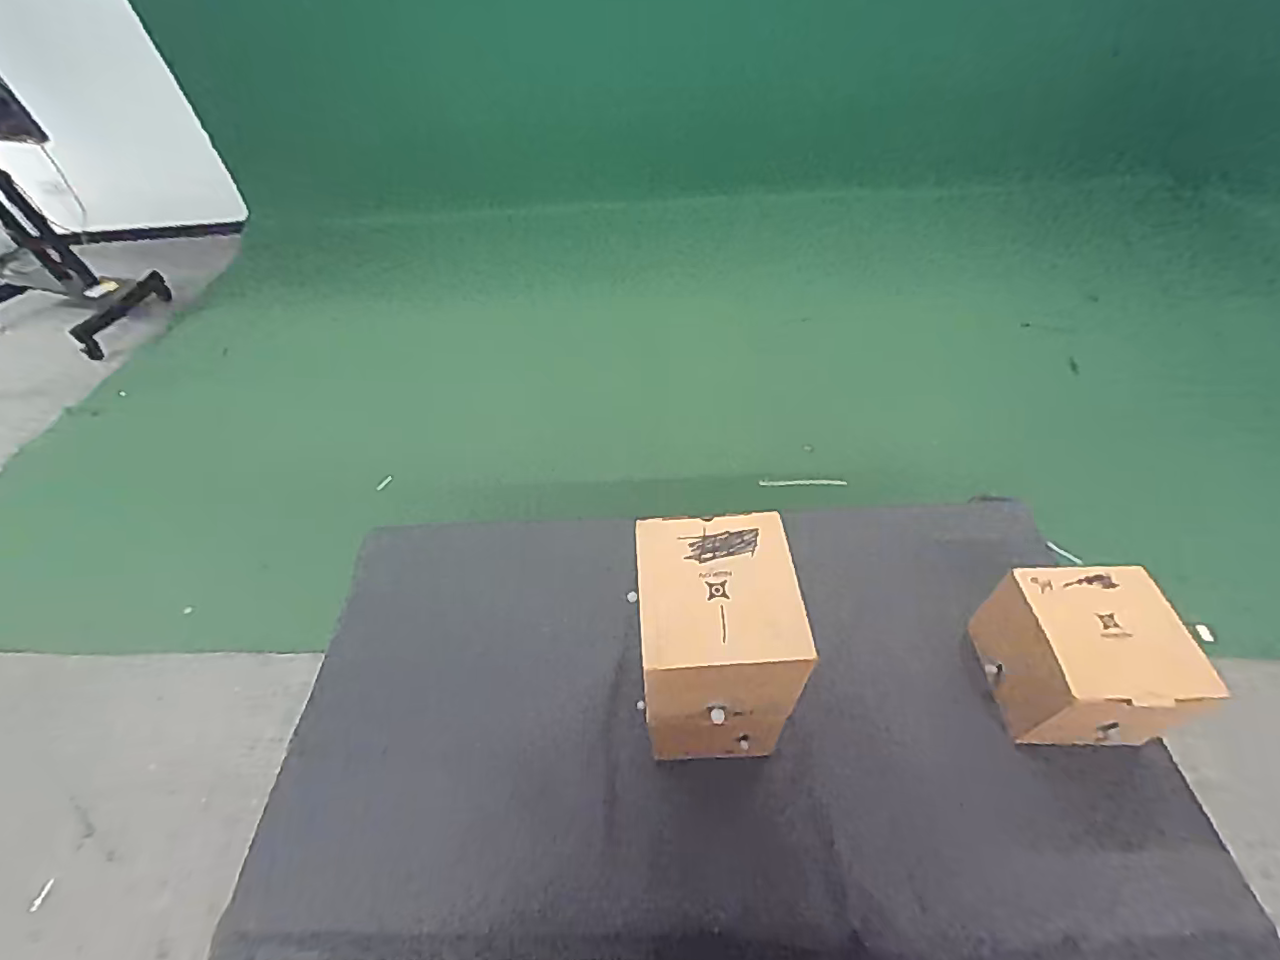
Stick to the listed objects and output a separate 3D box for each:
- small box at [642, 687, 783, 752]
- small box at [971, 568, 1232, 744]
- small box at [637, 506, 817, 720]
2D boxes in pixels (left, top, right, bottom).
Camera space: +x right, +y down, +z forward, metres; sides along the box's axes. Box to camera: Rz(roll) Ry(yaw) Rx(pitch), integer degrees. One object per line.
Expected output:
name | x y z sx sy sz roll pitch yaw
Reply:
small box | 0.088 0.257 0.731 0.168 0.176 0.179 -2 47 1
small box | 0.574 0.232 0.707 0.168 0.176 0.179 -1 49 5
small box | 0.081 0.150 0.606 0.168 0.176 0.179 -3 50 1
